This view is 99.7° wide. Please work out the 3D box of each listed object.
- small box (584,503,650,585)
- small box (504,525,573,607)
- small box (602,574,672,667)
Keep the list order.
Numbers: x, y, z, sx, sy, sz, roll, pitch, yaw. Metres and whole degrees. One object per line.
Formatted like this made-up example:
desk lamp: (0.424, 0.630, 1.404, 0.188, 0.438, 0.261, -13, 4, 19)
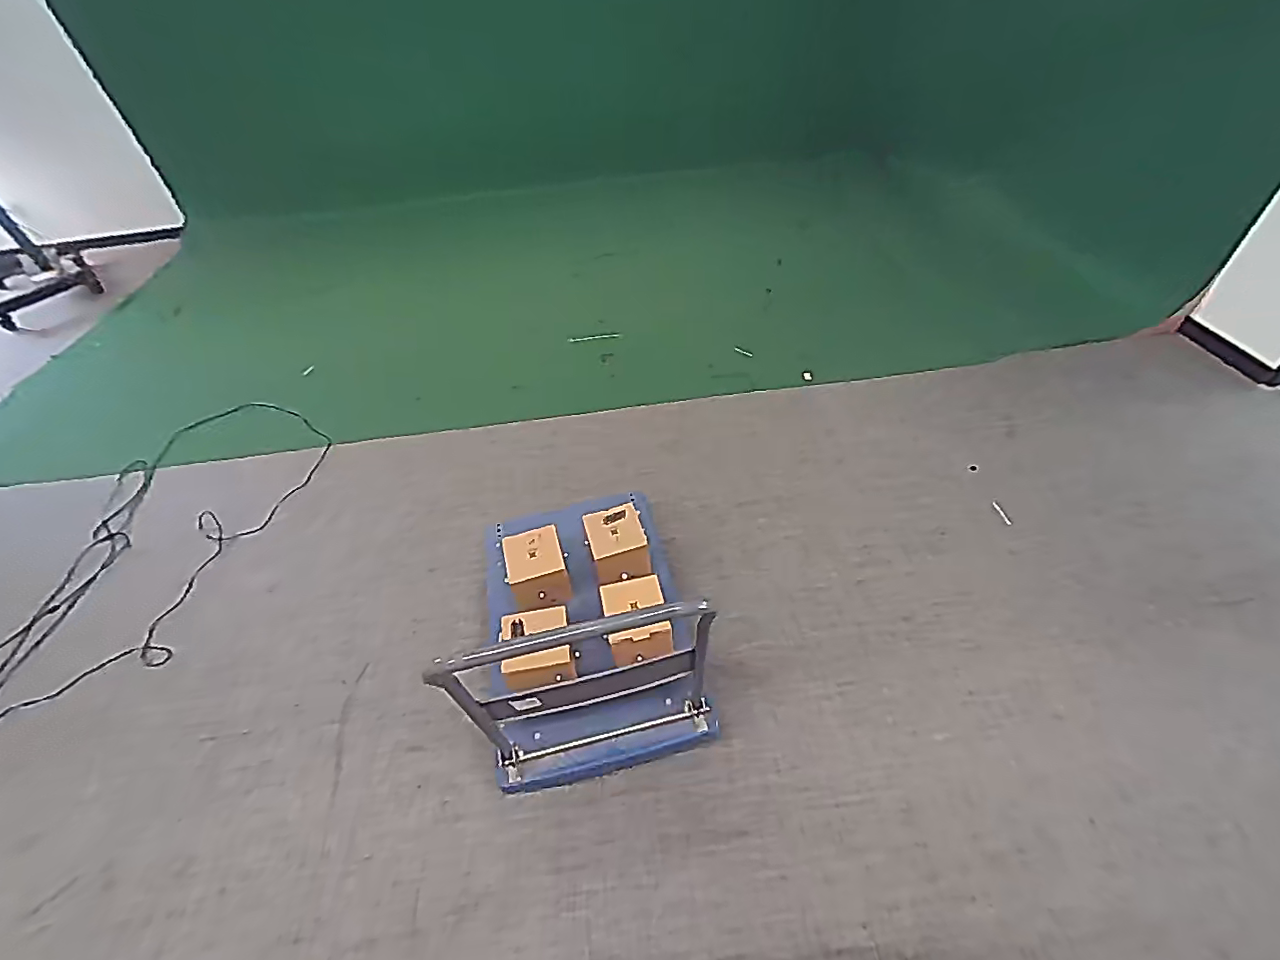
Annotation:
small box: (-0.070, 0.207, 1.709, 0.168, 0.176, 0.179, -16, 48, -7)
small box: (-0.310, 0.273, 1.672, 0.168, 0.176, 0.179, -14, 47, -9)
small box: (-0.009, 0.398, 1.527, 0.168, 0.176, 0.179, -12, 47, -5)
